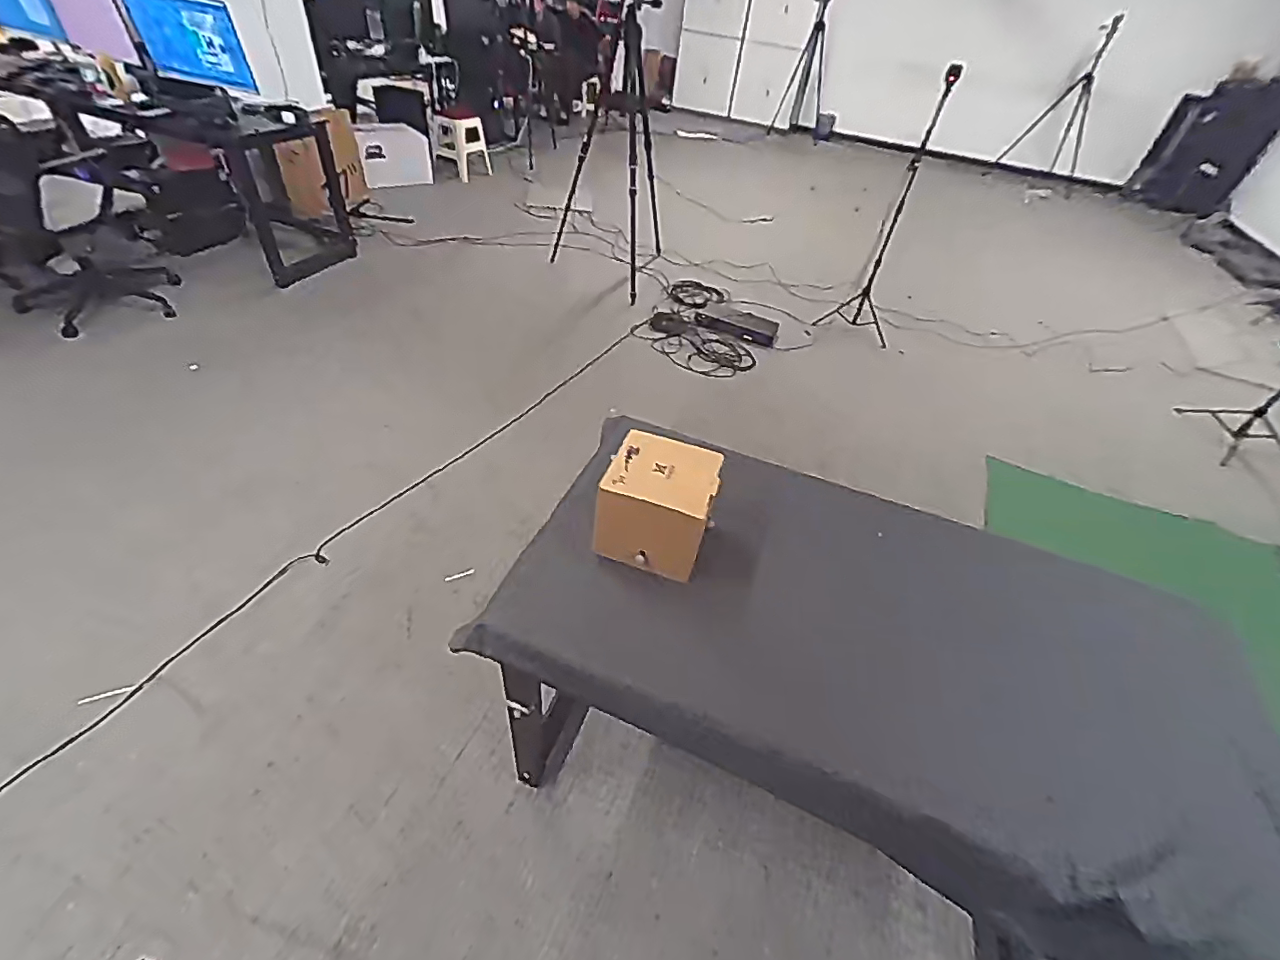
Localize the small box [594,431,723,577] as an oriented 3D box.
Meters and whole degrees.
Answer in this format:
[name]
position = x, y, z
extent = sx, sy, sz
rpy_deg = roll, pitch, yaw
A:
[small box]
position = 0.030, 0.046, 0.956
extent = 0.179, 0.176, 0.168
rpy_deg = 18, 44, 9
